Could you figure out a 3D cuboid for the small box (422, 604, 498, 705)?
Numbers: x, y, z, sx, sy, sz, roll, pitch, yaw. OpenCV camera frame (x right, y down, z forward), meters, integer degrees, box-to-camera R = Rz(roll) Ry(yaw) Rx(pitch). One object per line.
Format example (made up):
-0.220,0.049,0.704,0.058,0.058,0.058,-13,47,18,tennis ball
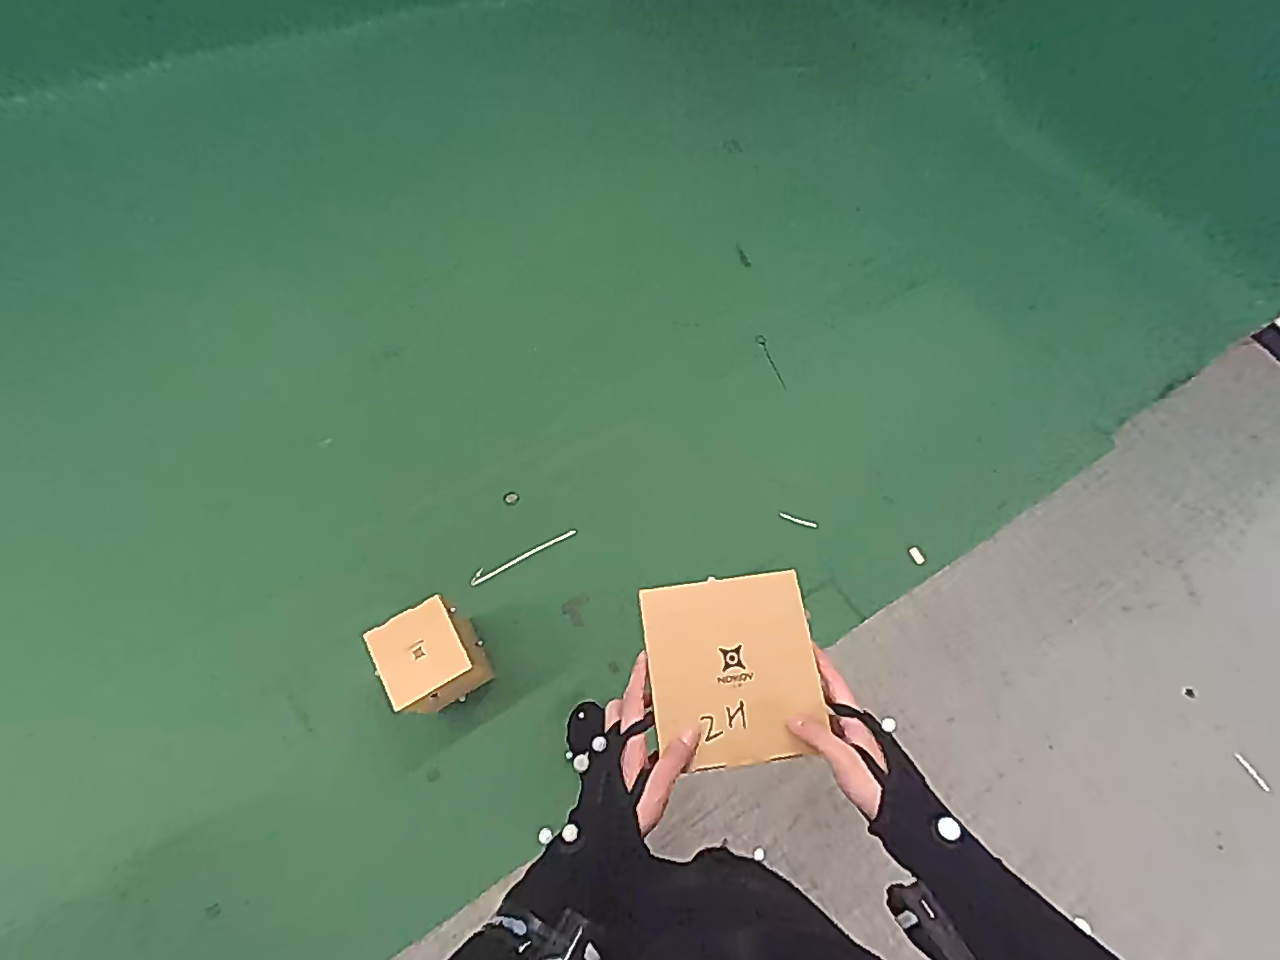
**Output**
-0.468,0.433,1.329,0.168,0.176,0.179,-28,74,-15,small box

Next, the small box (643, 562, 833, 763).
0.092,0.200,0.607,0.168,0.176,0.179,-7,72,-1,small box

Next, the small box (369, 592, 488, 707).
-0.451,0.371,1.181,0.168,0.176,0.179,-29,72,-15,small box
